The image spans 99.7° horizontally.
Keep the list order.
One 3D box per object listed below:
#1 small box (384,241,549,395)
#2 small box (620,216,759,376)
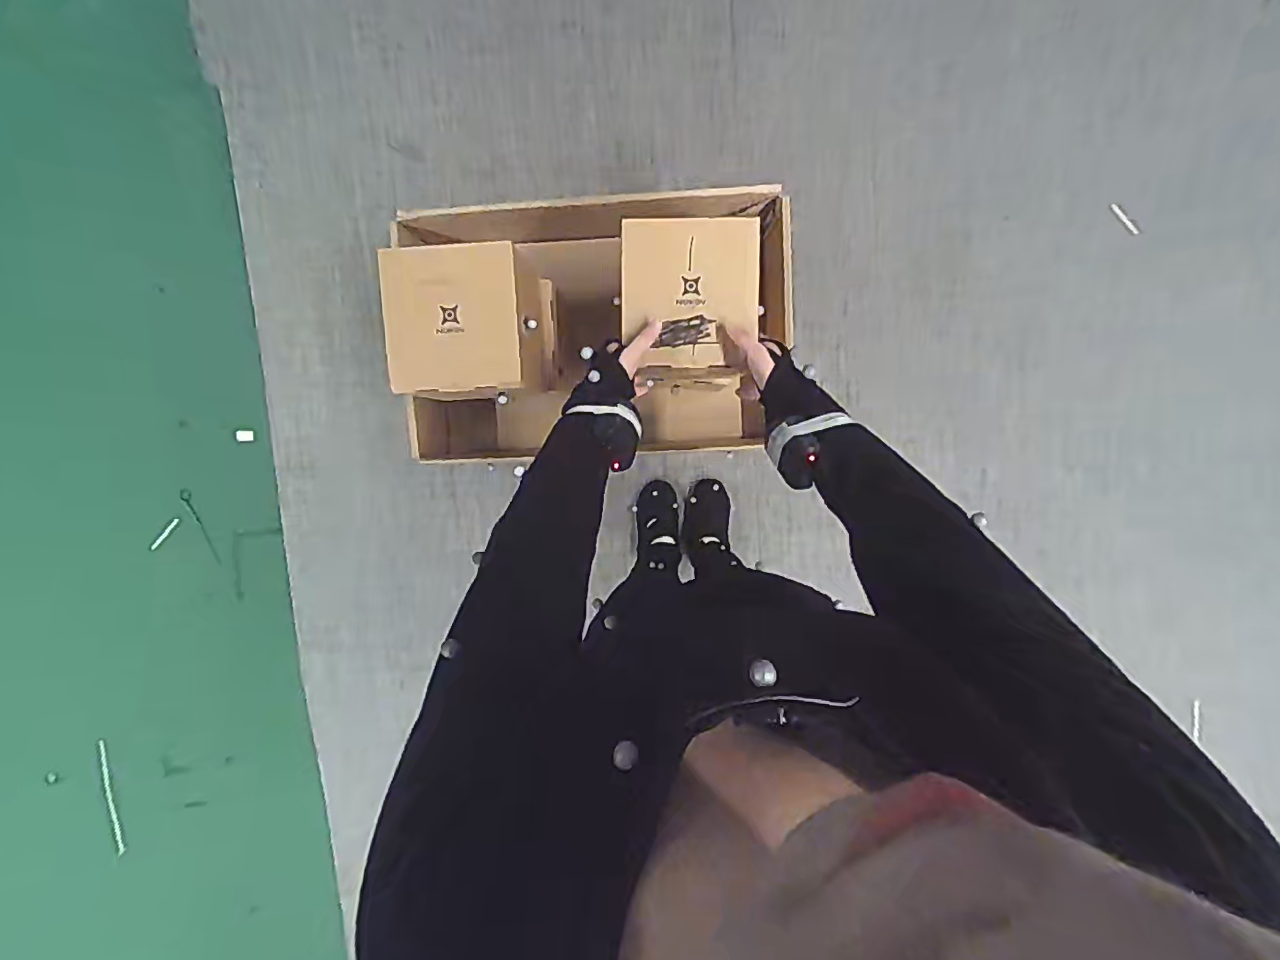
[{"bbox_3d":[-0.225,-0.208,0.742,0.168,0.176,0.179,-2,95,3],"label":"small box"},{"bbox_3d":[0.063,-0.233,0.726,0.168,0.176,0.179,0,95,2],"label":"small box"}]
